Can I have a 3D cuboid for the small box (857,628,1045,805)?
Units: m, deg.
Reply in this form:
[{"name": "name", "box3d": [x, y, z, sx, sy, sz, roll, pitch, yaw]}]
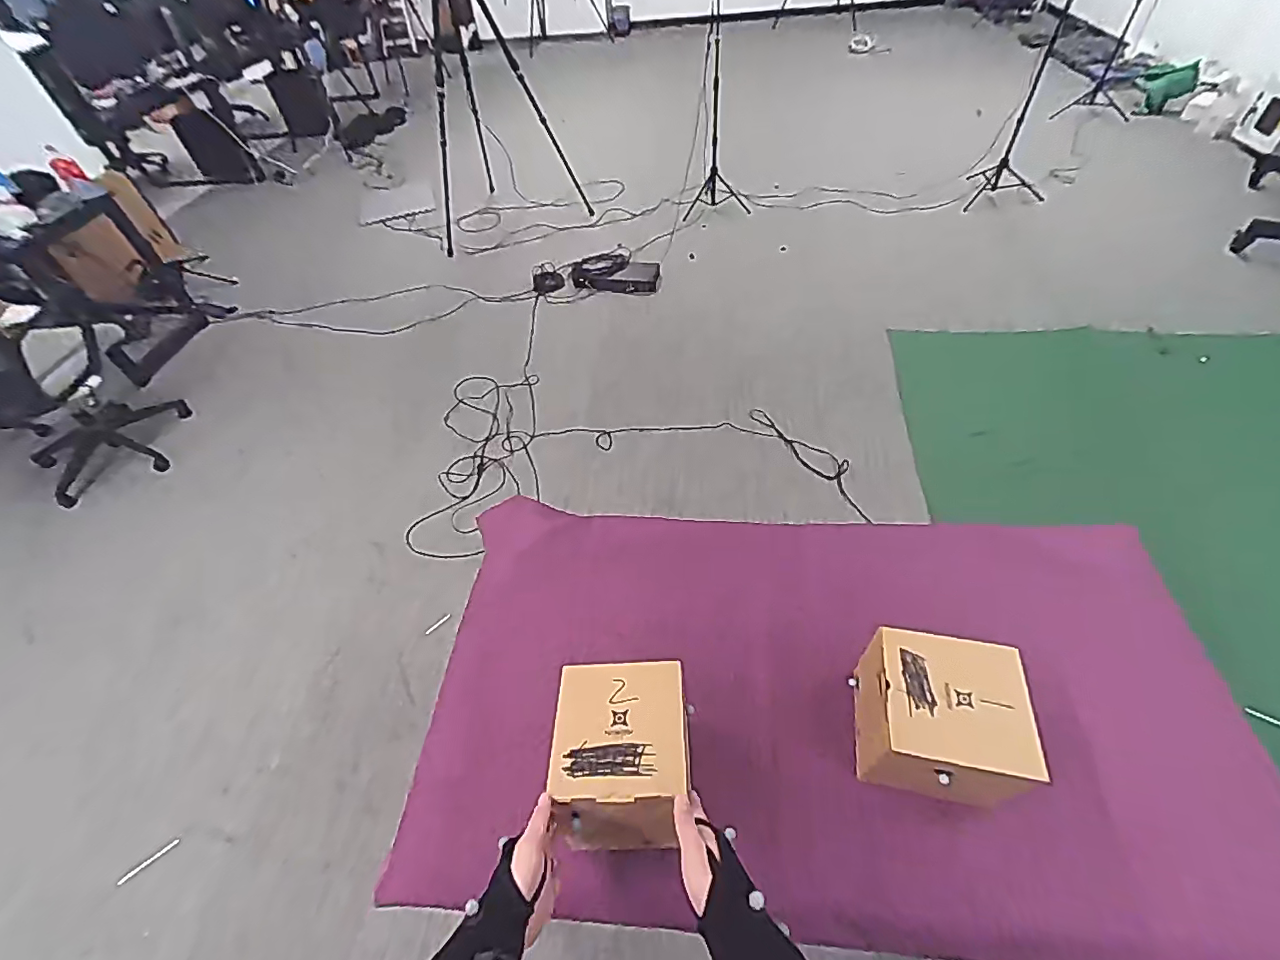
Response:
[{"name": "small box", "box3d": [0.405, 0.328, 0.746, 0.179, 0.176, 0.168, 8, 51, 11]}]
